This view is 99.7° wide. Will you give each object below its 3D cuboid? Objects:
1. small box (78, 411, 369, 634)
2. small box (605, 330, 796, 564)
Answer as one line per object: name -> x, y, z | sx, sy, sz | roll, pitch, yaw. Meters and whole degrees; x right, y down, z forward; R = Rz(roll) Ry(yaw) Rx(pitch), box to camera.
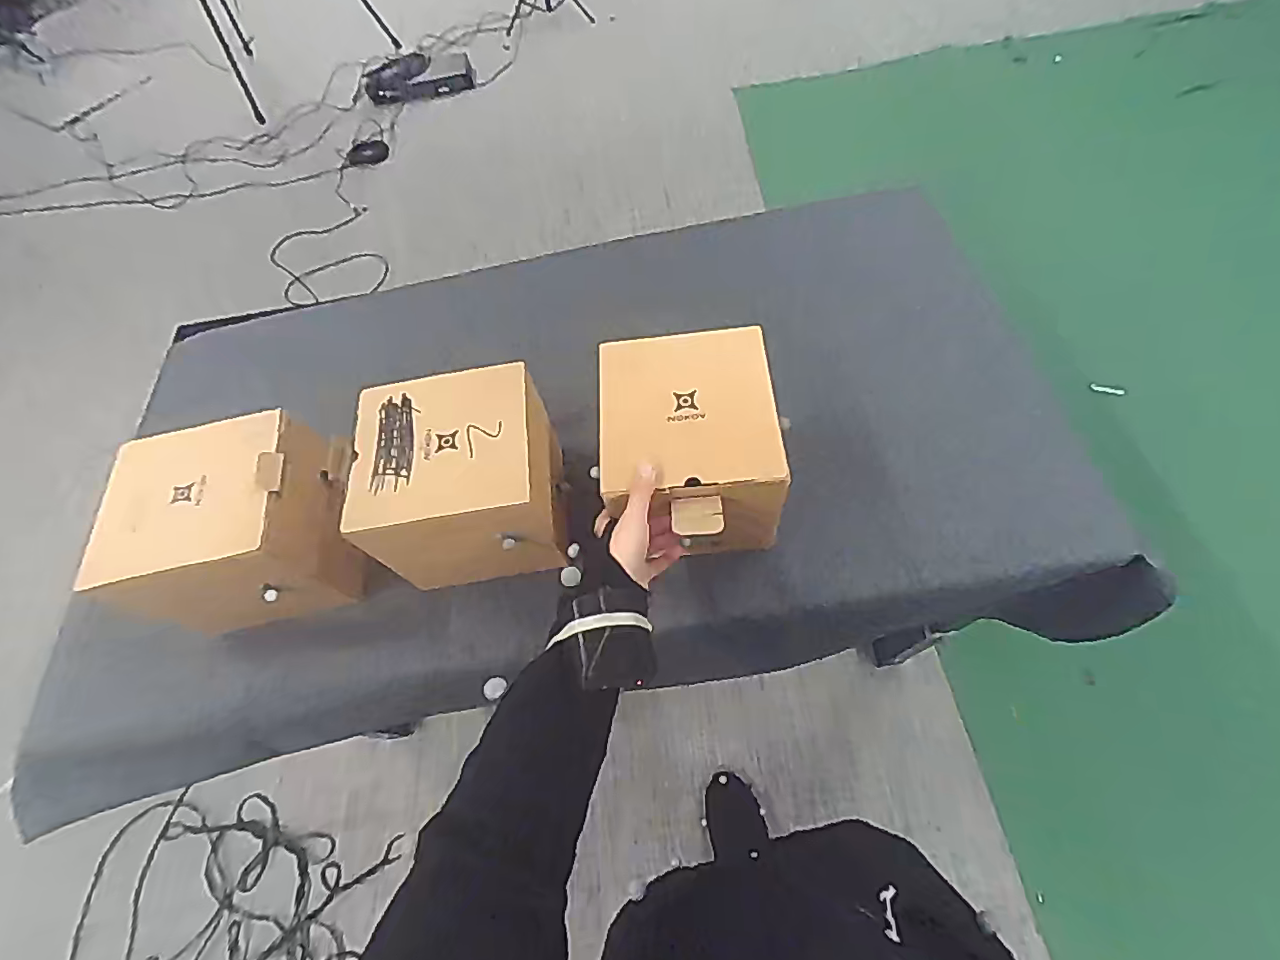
small box -> -0.422, 0.054, 0.589 | 0.179, 0.176, 0.168 | -13, 59, 0
small box -> 0.058, -0.028, 0.575 | 0.168, 0.176, 0.179 | -7, 59, 5
